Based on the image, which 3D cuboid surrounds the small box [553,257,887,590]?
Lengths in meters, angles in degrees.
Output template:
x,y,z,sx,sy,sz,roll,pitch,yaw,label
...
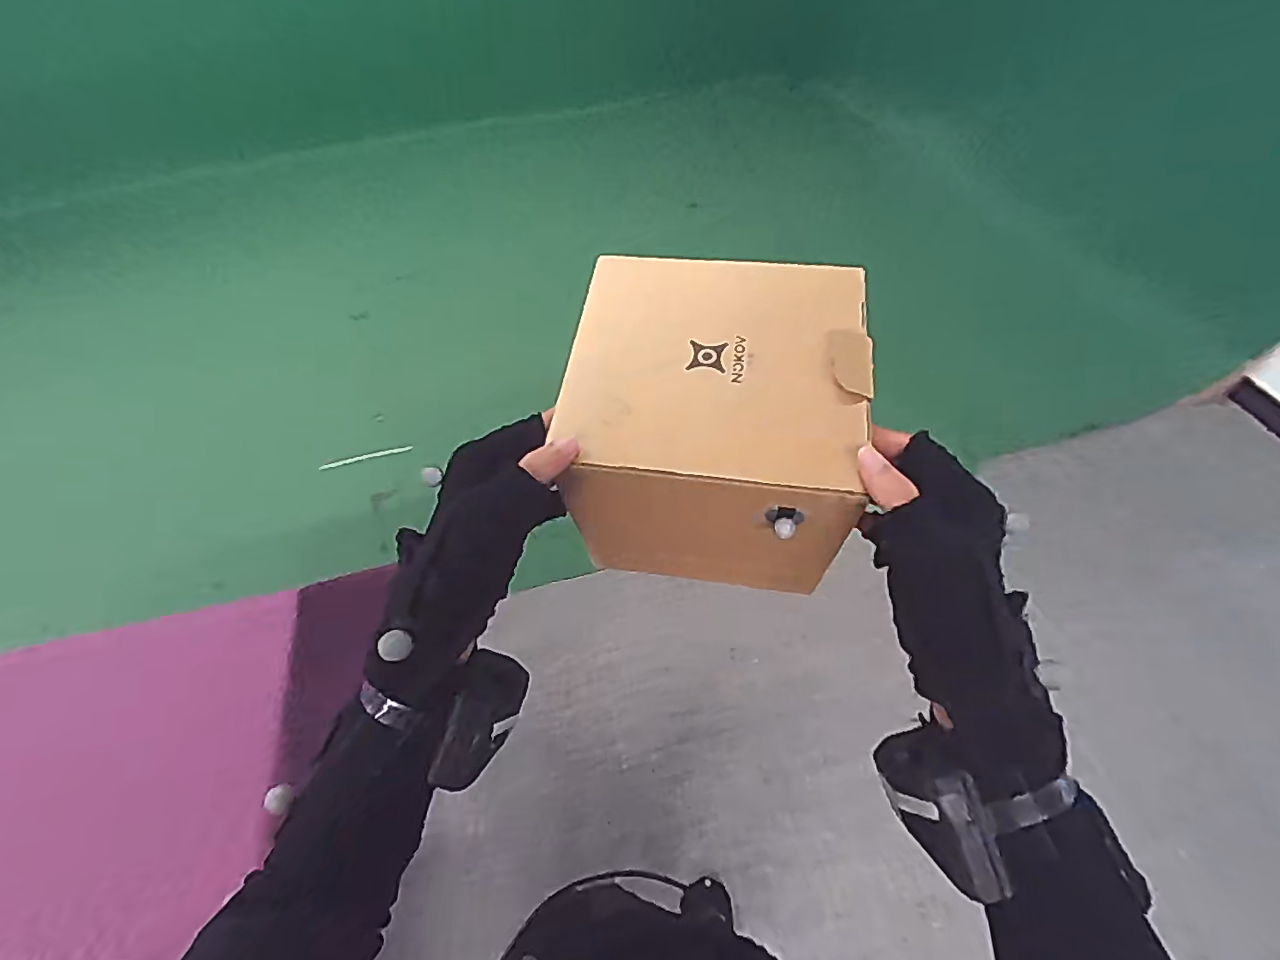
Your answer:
x,y,z,sx,sy,sz,roll,pitch,yaw,label
0.057,-0.031,0.385,0.179,0.176,0.168,7,62,8,small box
